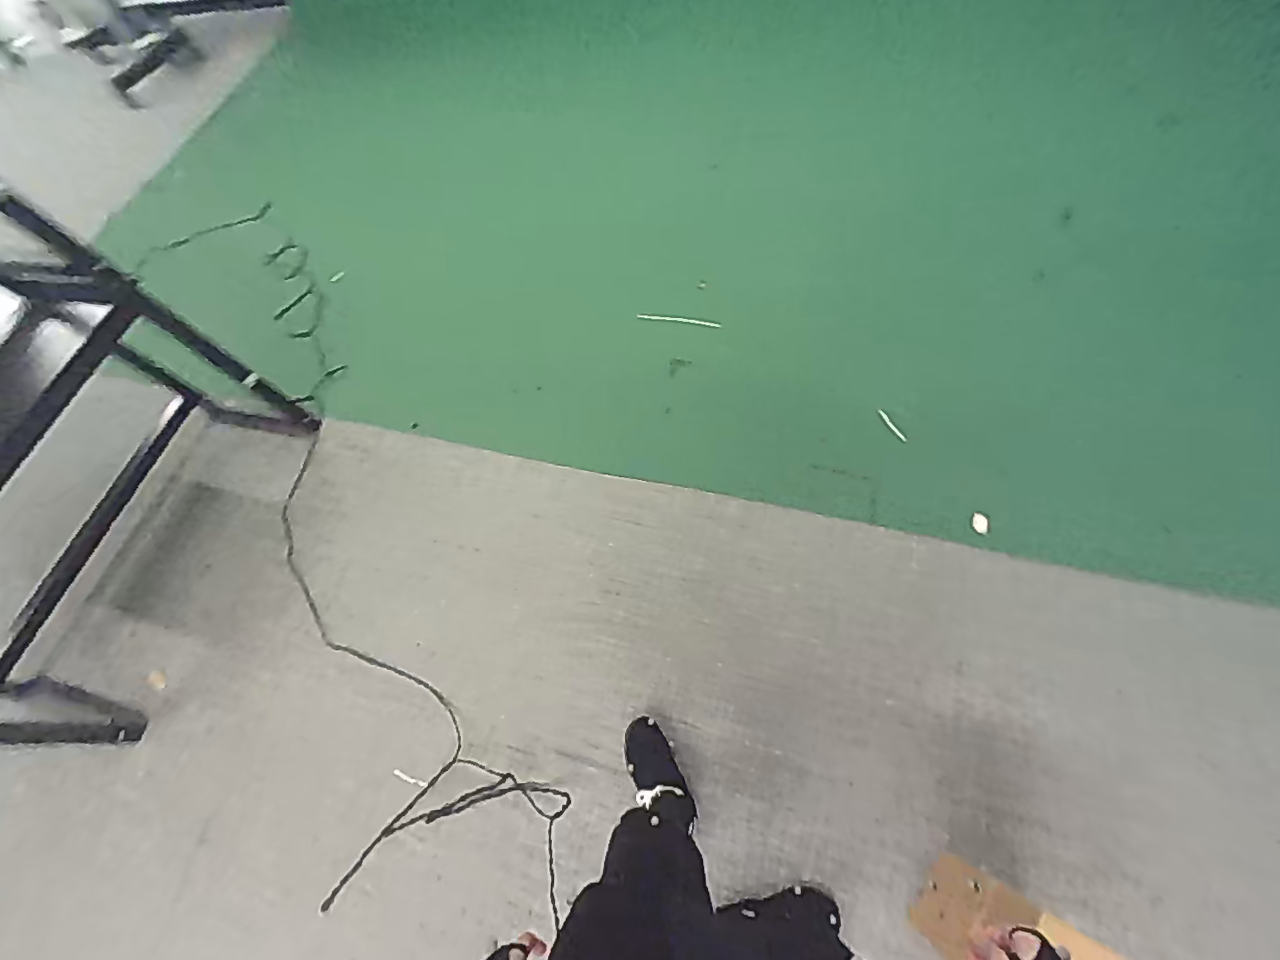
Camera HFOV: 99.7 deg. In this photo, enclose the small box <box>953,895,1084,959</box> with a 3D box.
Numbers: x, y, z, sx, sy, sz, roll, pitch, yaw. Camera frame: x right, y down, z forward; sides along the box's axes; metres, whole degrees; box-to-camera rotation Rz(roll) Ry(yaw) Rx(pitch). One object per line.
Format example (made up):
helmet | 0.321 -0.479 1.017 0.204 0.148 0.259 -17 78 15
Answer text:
small box | 0.573 0.757 0.780 0.168 0.176 0.179 29 73 21
